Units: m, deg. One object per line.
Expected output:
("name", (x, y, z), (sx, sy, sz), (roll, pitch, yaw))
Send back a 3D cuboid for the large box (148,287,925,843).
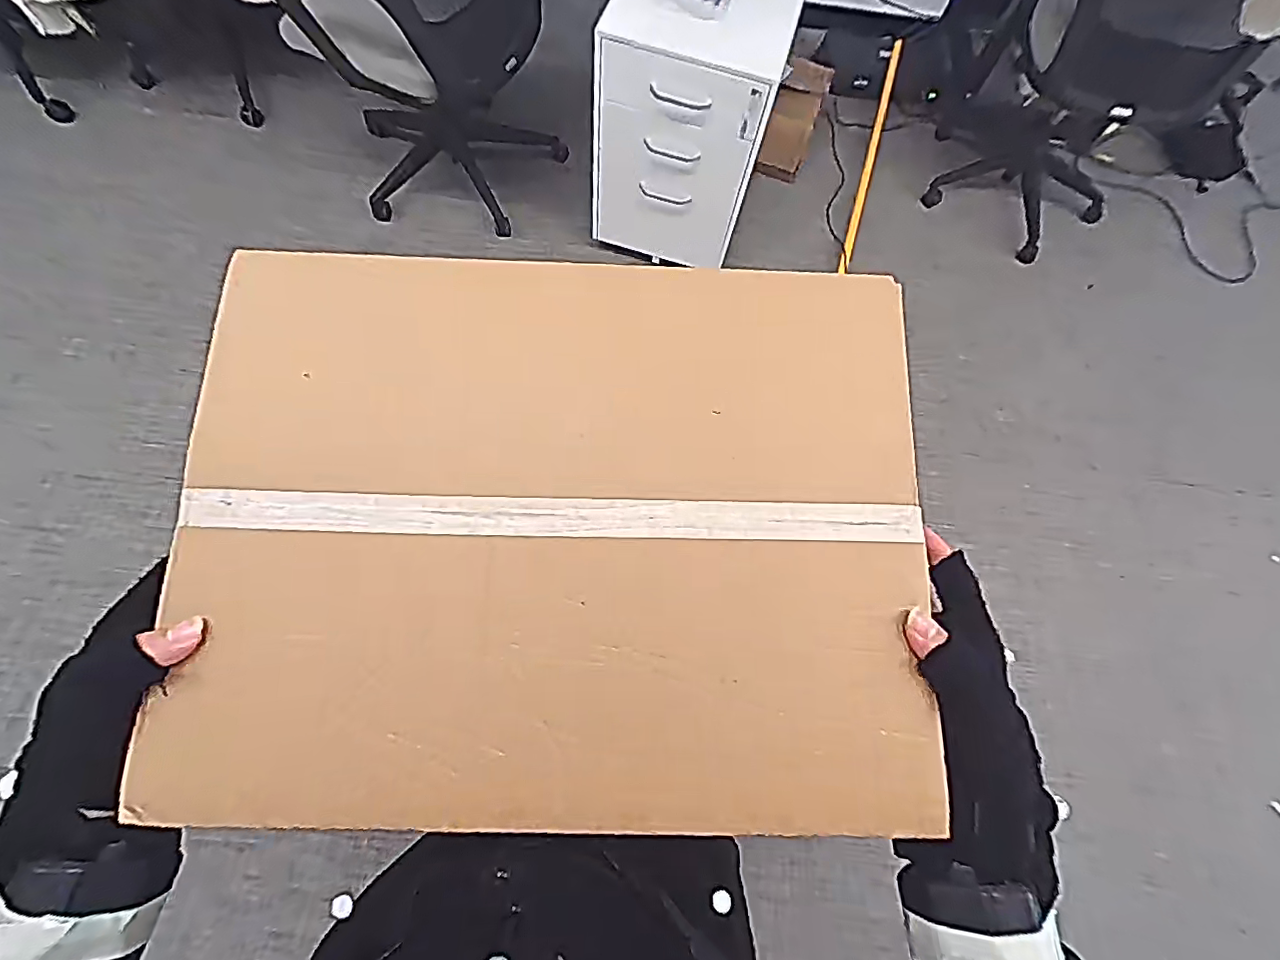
("large box", (-0.050, 0.063, 0.450), (0.408, 0.320, 0.320), (2, 77, -1))
